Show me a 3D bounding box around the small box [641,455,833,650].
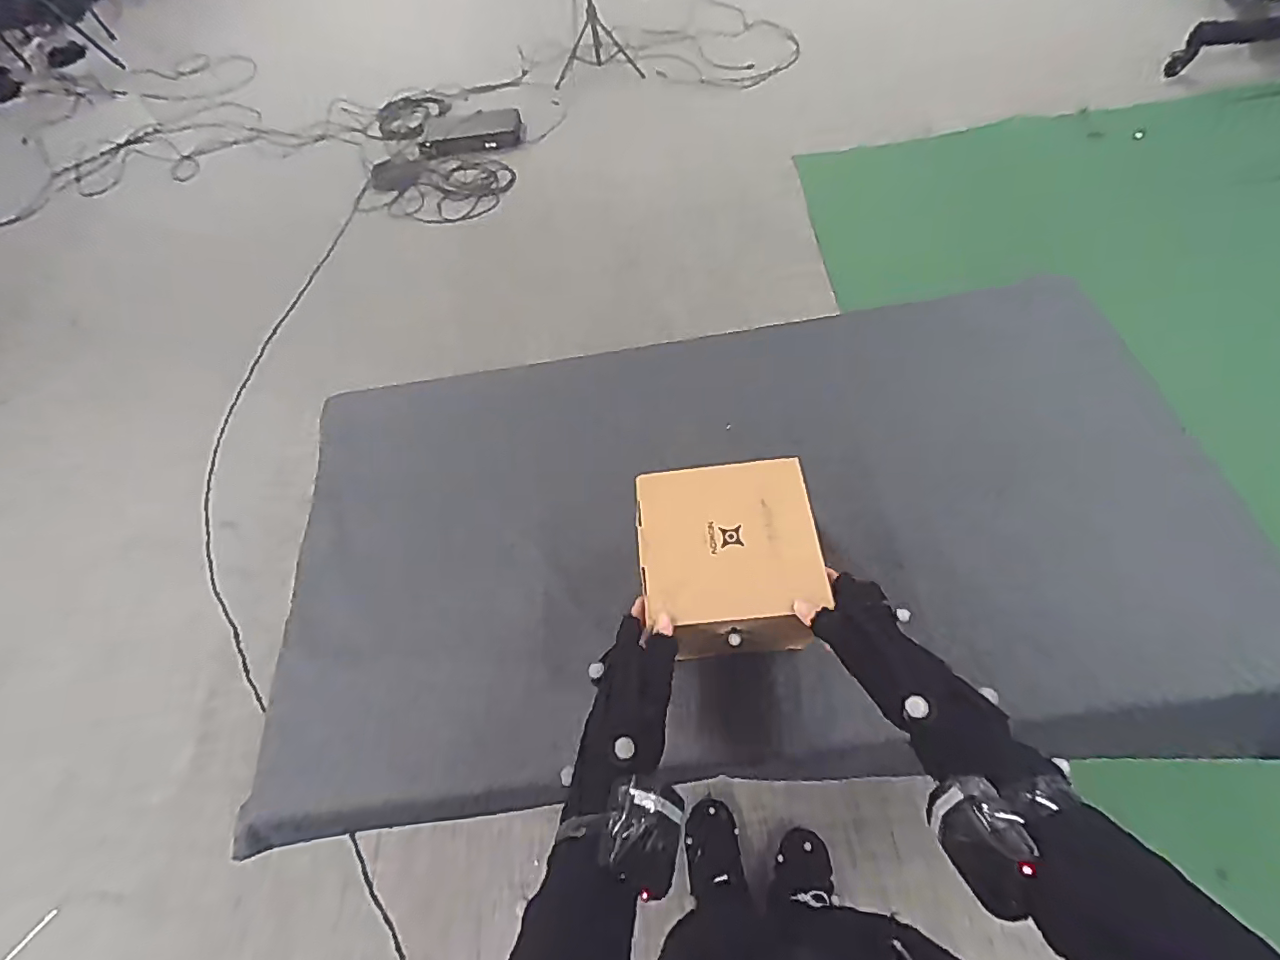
[{"bbox_3d":[0.100,0.092,0.622,0.179,0.176,0.168,-7,62,2],"label":"small box"}]
